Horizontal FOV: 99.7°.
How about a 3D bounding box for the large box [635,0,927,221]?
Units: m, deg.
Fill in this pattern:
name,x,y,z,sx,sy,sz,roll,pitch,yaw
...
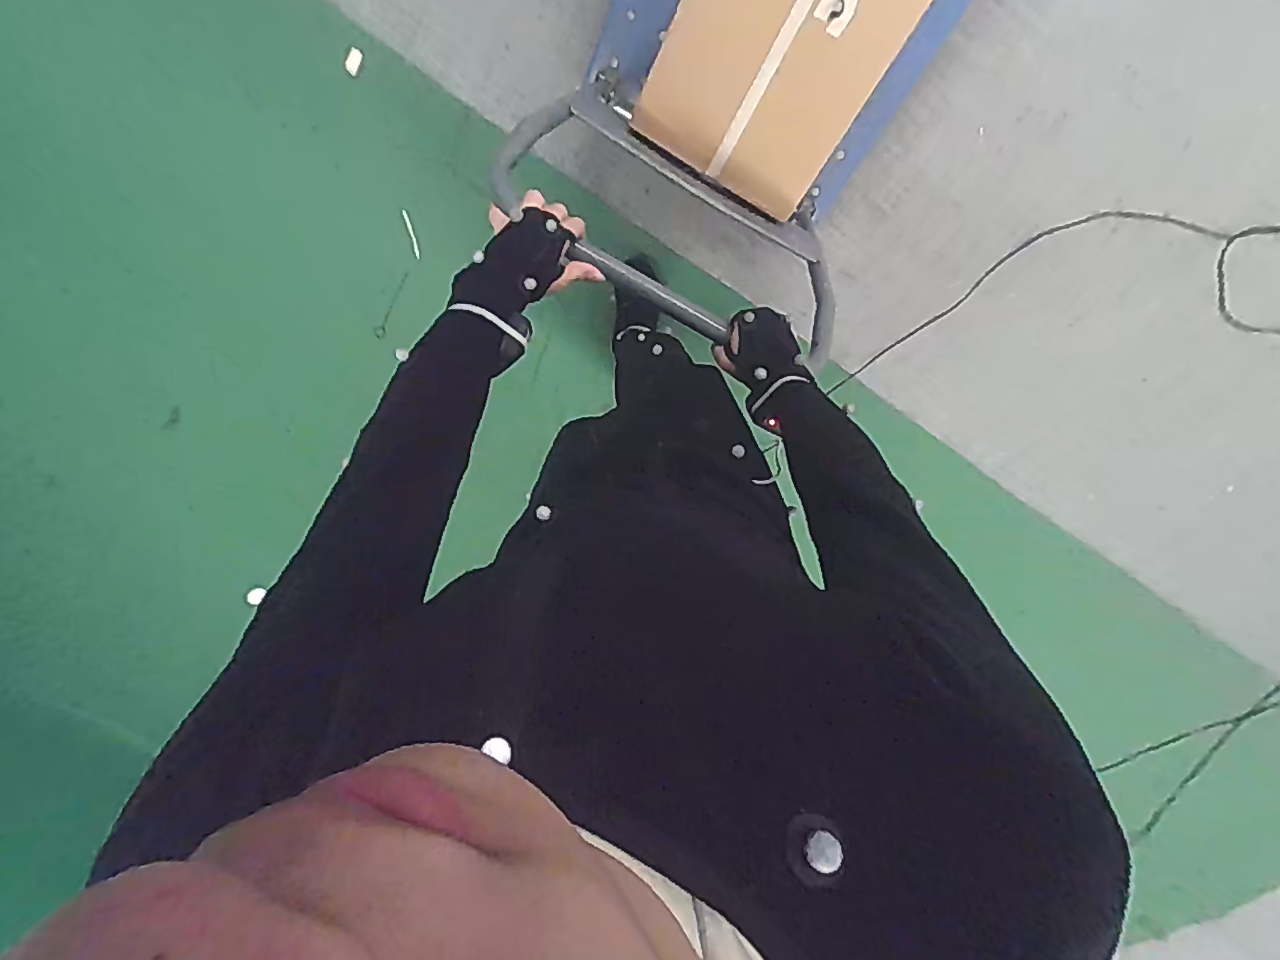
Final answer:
name,x,y,z,sx,sy,sz,roll,pitch,yaw
large box,0.231,-0.742,0.936,0.320,0.320,0.408,27,126,-11
